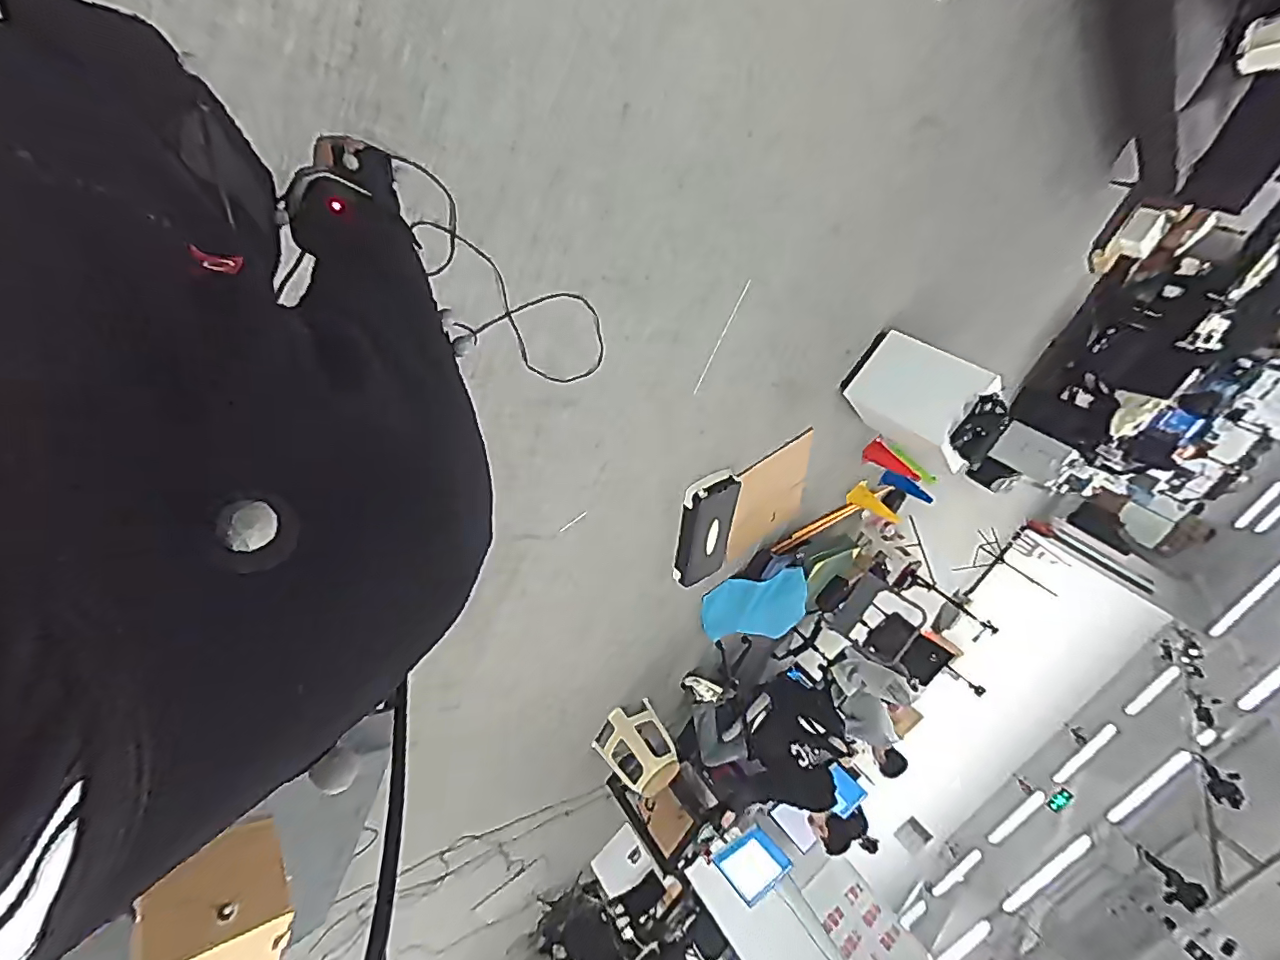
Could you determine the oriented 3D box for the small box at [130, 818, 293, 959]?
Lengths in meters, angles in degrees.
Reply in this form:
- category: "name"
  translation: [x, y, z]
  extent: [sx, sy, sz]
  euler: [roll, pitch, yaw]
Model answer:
- category: "small box"
  translation: [-0.675, 0.678, 0.849]
  extent: [0.179, 0.176, 0.168]
  euler: [3, 120, -45]
